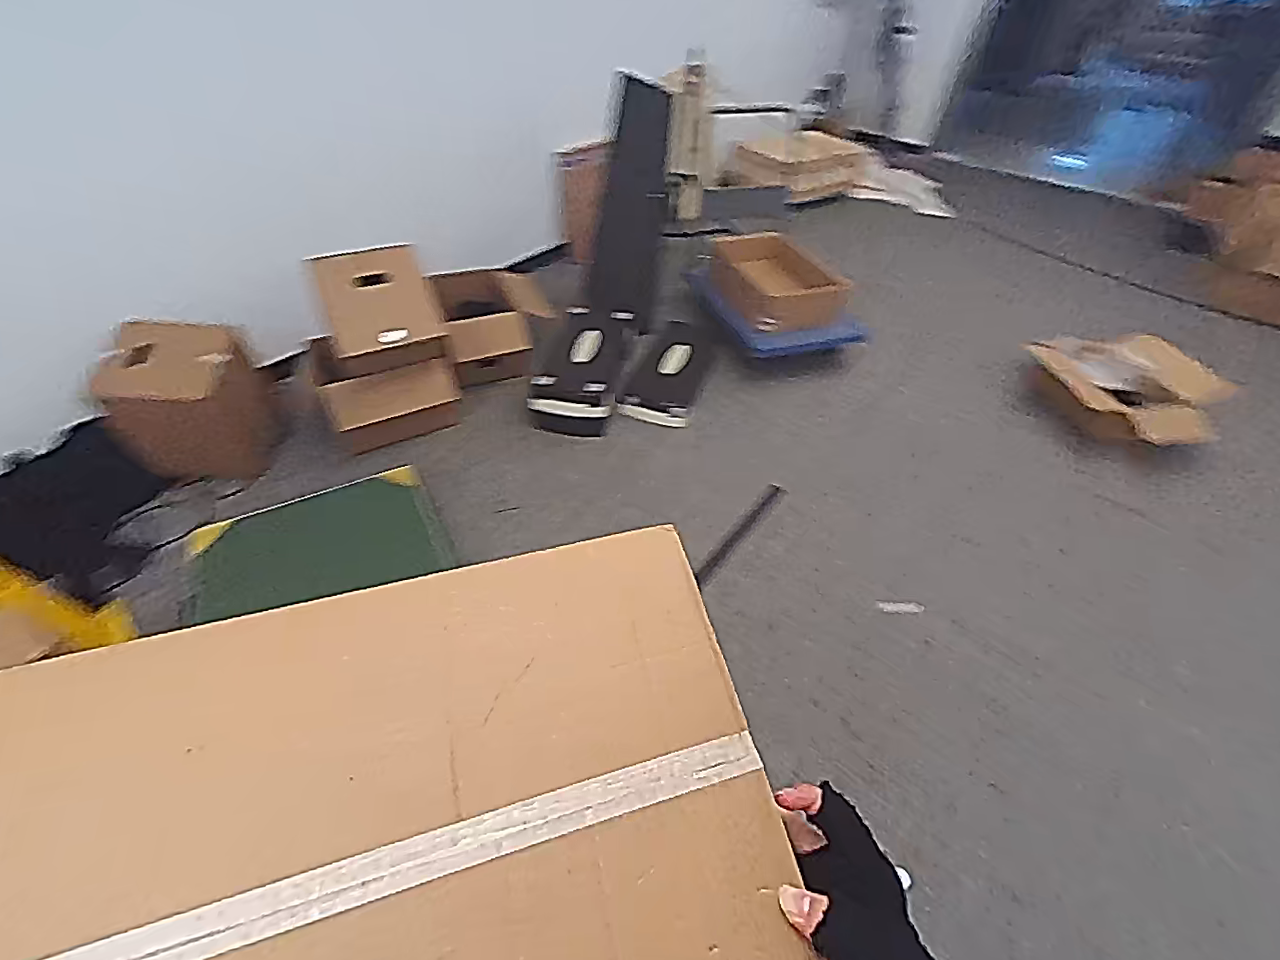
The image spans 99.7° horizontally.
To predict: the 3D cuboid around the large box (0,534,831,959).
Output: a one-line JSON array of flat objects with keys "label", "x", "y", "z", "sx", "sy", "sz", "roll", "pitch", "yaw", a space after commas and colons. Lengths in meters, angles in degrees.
[{"label": "large box", "x": -0.131, "y": 0.281, "z": 0.410, "sx": 0.408, "sy": 0.320, "sz": 0.320, "roll": -10, "pitch": 61, "yaw": -12}]
